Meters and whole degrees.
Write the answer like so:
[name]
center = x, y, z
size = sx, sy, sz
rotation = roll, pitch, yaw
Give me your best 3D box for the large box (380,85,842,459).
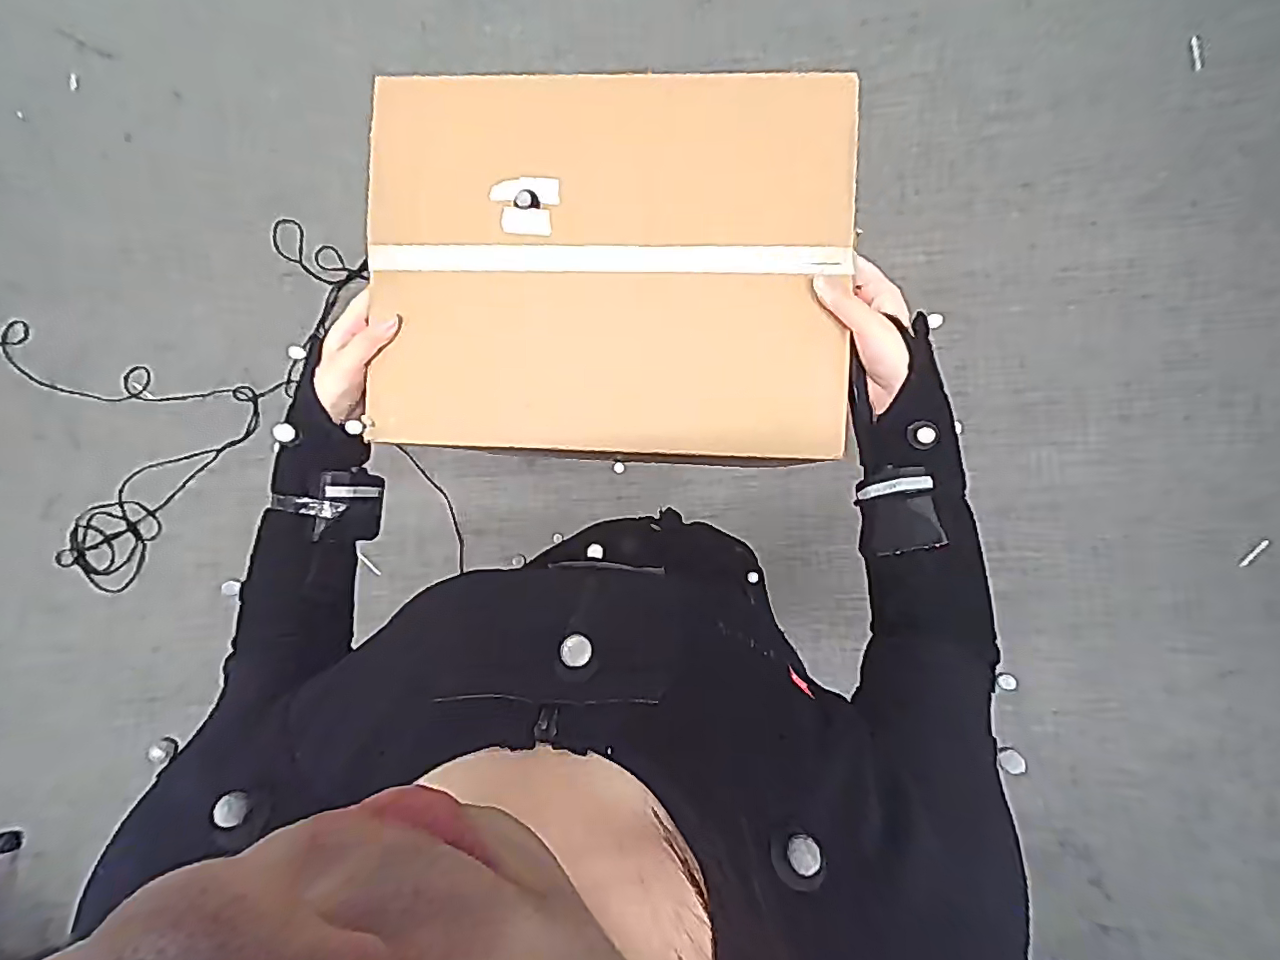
[large box]
center = -0.017, -0.182, 0.615
size = 0.408, 0.320, 0.320
rotation = 2, 91, 6
